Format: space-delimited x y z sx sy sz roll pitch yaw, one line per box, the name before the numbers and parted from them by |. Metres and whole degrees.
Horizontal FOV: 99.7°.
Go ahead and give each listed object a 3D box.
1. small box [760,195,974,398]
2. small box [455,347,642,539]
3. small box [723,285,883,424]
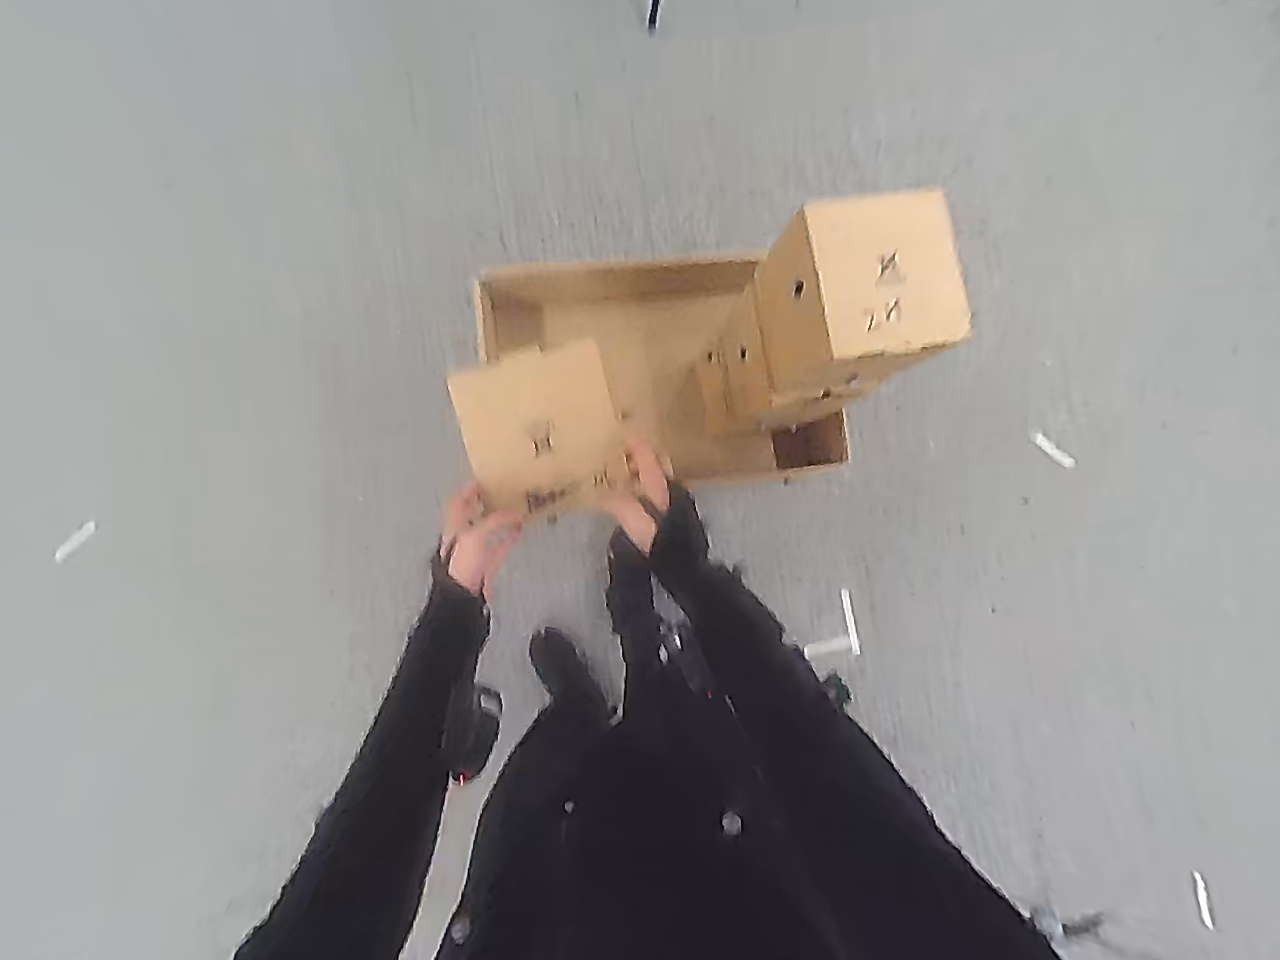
small box | 0.260 -0.213 0.661 0.168 0.176 0.179 -9 87 -7
small box | -0.096 -0.045 0.649 0.168 0.176 0.179 -13 96 3
small box | 0.236 -0.187 0.822 0.168 0.176 0.179 -9 86 -7
